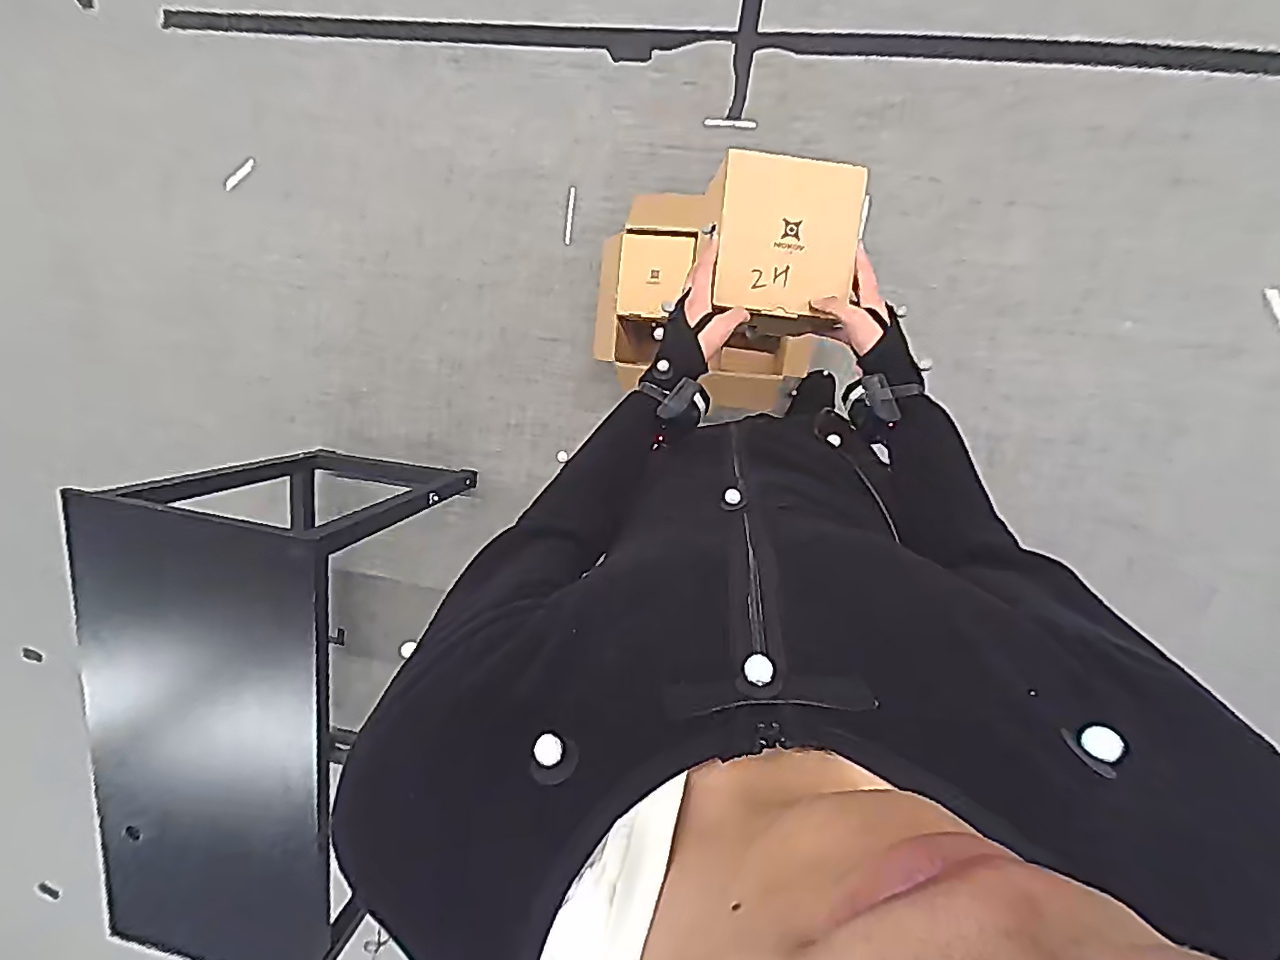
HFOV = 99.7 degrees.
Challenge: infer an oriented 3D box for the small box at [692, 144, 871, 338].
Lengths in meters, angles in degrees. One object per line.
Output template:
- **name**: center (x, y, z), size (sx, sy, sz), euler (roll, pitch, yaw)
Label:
- **small box**: center (0.167, -0.290, 0.694), size (0.168, 0.176, 0.179), euler (5, 98, -5)
